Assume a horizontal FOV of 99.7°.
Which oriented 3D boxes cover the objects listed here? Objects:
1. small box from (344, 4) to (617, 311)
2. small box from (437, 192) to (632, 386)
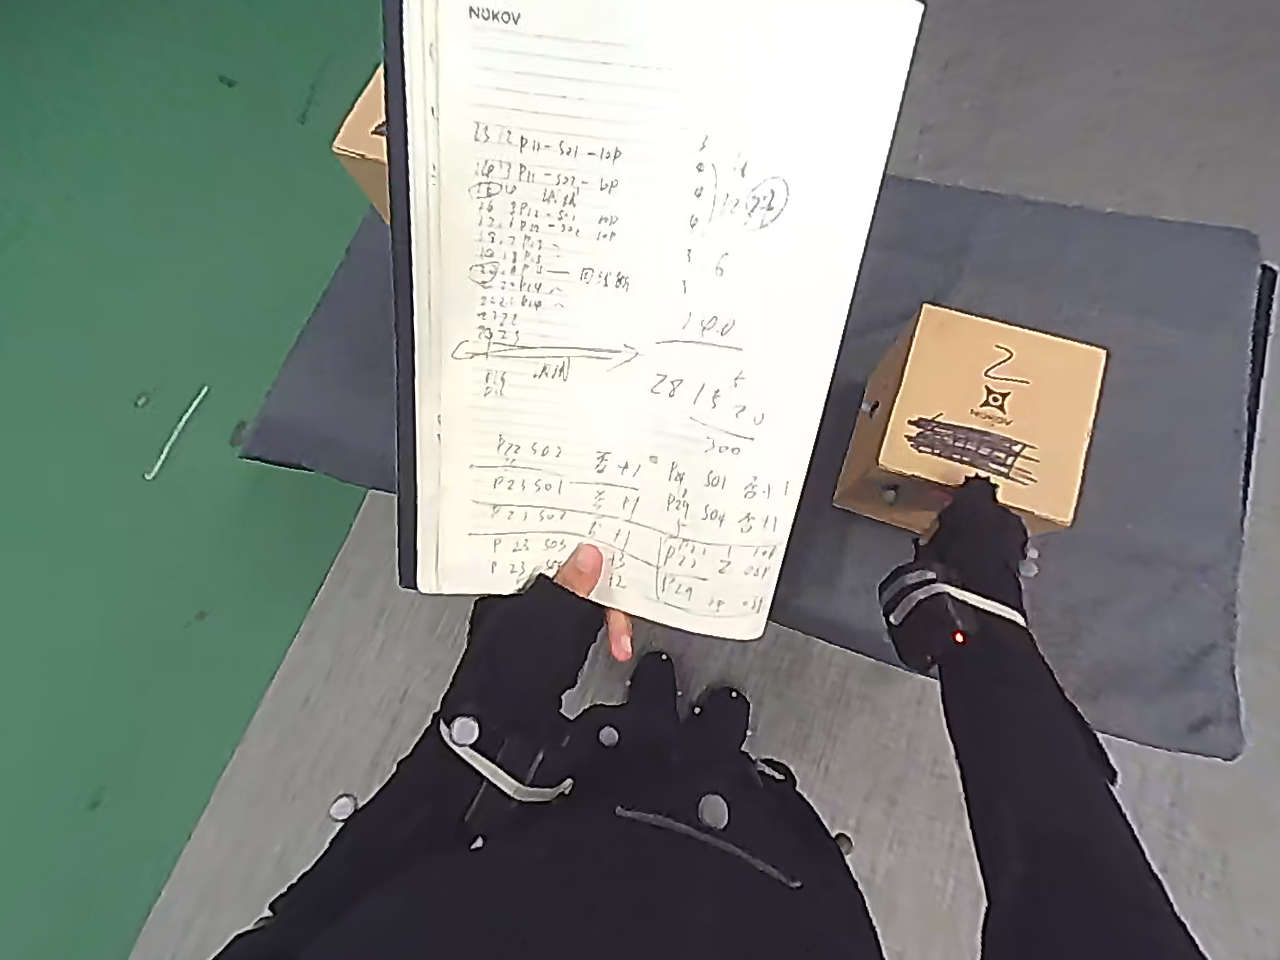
[{"bbox_3d":[-0.131,-0.296,0.523,0.168,0.176,0.179,21,76,10],"label":"small box"},{"bbox_3d":[-0.115,-0.248,0.680,0.168,0.176,0.179,19,77,10],"label":"small box"}]
